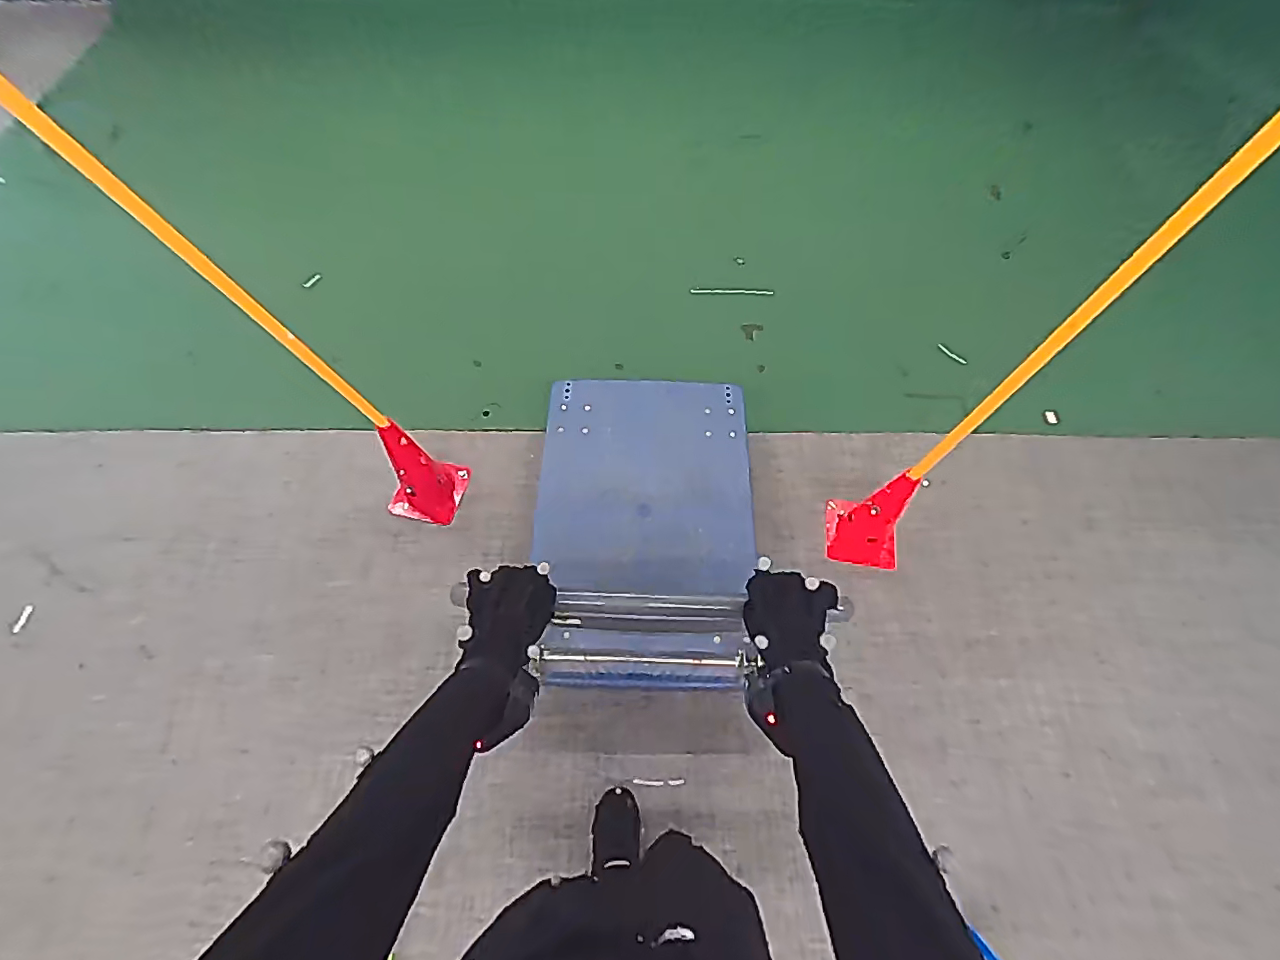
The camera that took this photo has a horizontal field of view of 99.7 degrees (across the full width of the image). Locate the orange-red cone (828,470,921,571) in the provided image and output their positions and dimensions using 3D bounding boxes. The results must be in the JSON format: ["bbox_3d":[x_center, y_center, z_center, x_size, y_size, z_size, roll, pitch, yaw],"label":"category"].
[{"bbox_3d":[0.649,0.078,1.428,0.198,0.360,0.199,10,62,6],"label":"orange-red cone"}]
